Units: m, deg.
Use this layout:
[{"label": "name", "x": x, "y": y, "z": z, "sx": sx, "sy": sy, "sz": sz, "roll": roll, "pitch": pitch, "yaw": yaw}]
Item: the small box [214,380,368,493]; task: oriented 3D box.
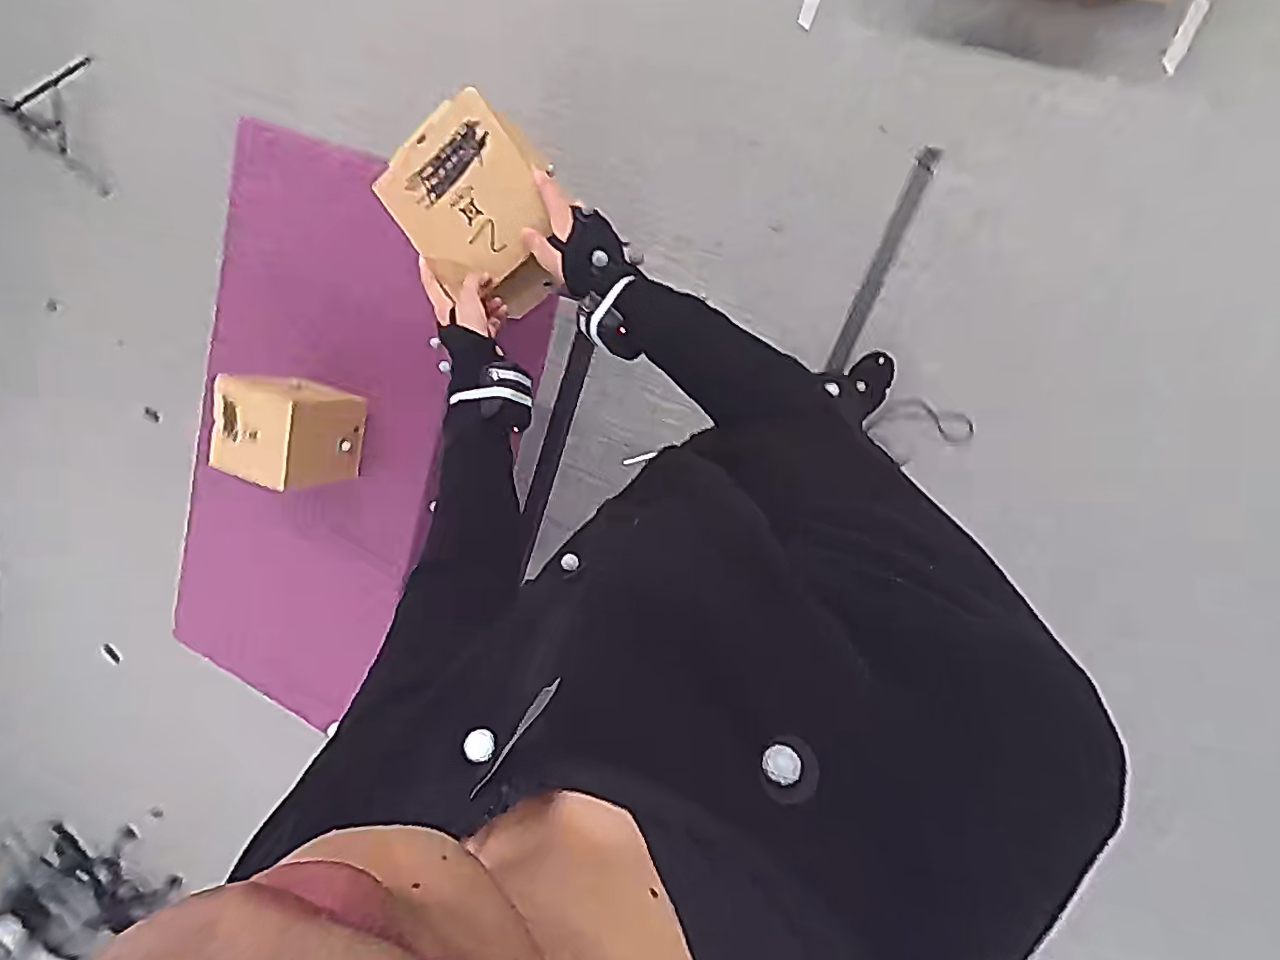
[{"label": "small box", "x": -0.656, "y": -0.087, "z": 1.026, "sx": 0.179, "sy": 0.176, "sz": 0.168, "roll": 17, "pitch": 103, "yaw": 14}]
